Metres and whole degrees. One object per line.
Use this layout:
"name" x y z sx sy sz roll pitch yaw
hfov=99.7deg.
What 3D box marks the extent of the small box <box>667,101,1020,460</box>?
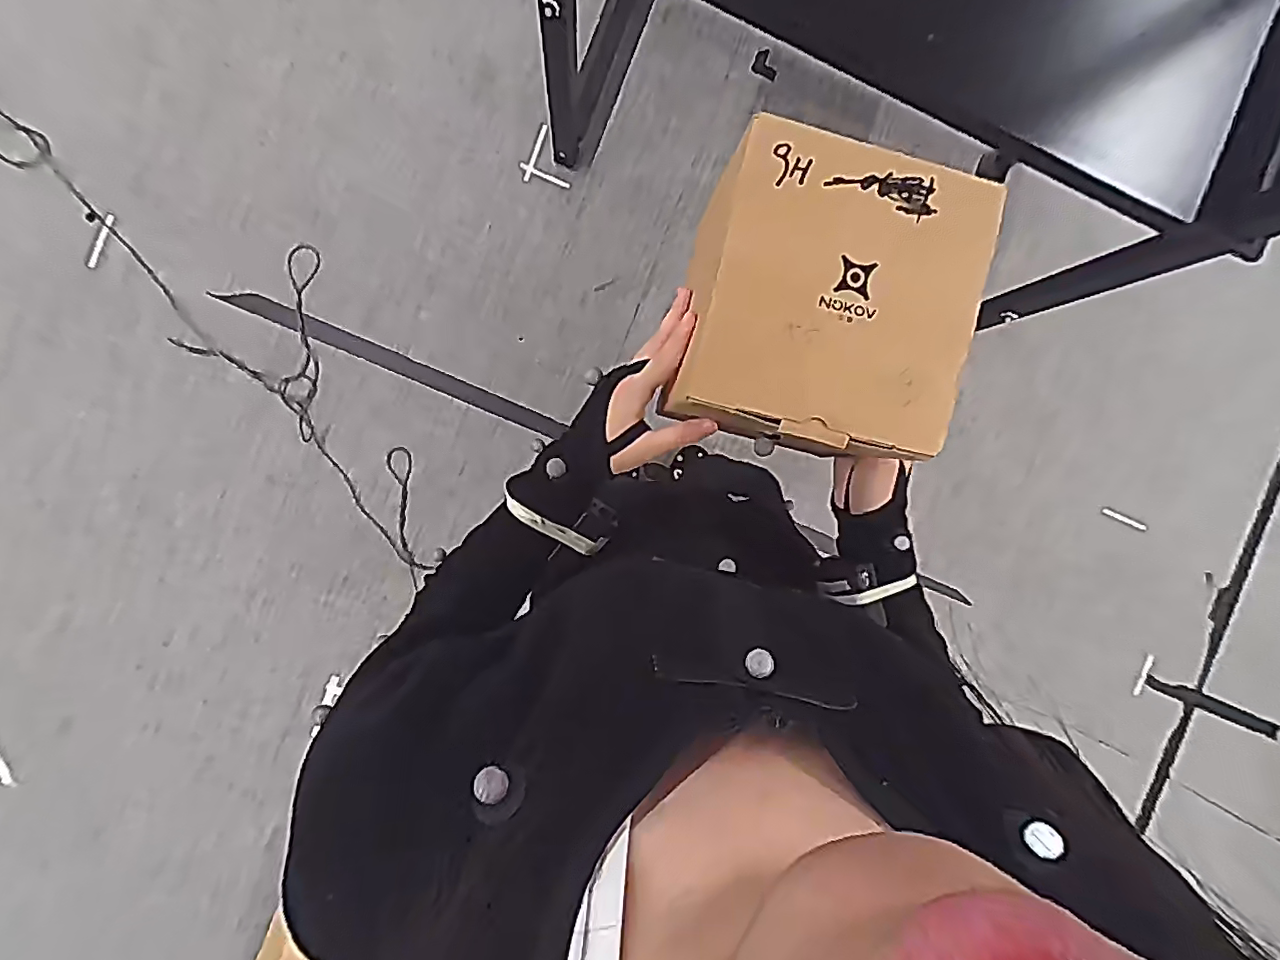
"small box" 0.123 -0.121 0.400 0.168 0.176 0.179 13 93 -7
